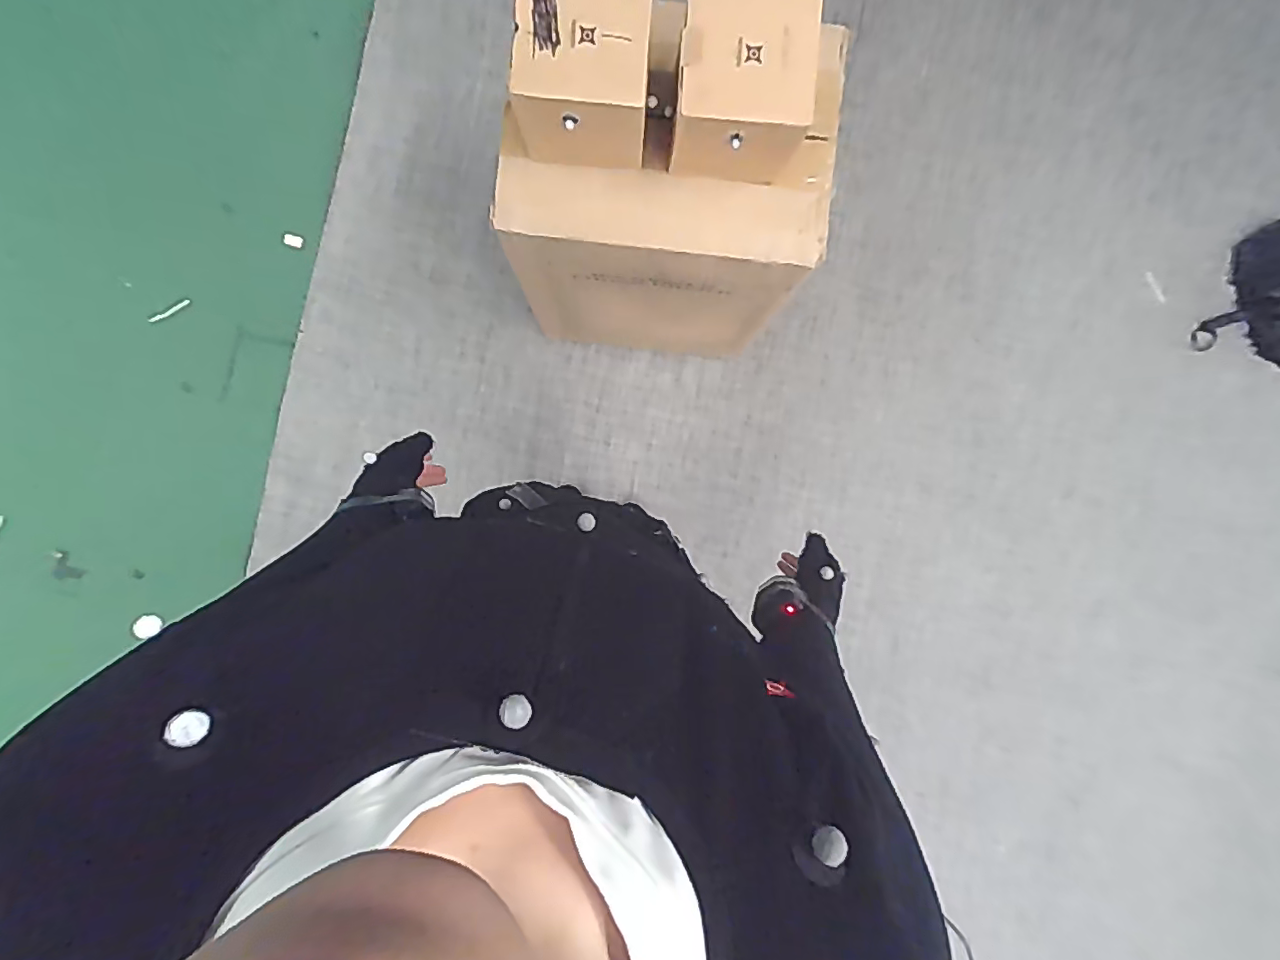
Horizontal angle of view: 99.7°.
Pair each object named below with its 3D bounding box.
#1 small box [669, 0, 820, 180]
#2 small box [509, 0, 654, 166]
[{"bbox_3d":[0.137,-0.554,0.773,0.179,0.176,0.168,3,96,-3],"label":"small box"},{"bbox_3d":[-0.076,-0.572,0.765,0.179,0.176,0.168,5,95,-2],"label":"small box"}]
